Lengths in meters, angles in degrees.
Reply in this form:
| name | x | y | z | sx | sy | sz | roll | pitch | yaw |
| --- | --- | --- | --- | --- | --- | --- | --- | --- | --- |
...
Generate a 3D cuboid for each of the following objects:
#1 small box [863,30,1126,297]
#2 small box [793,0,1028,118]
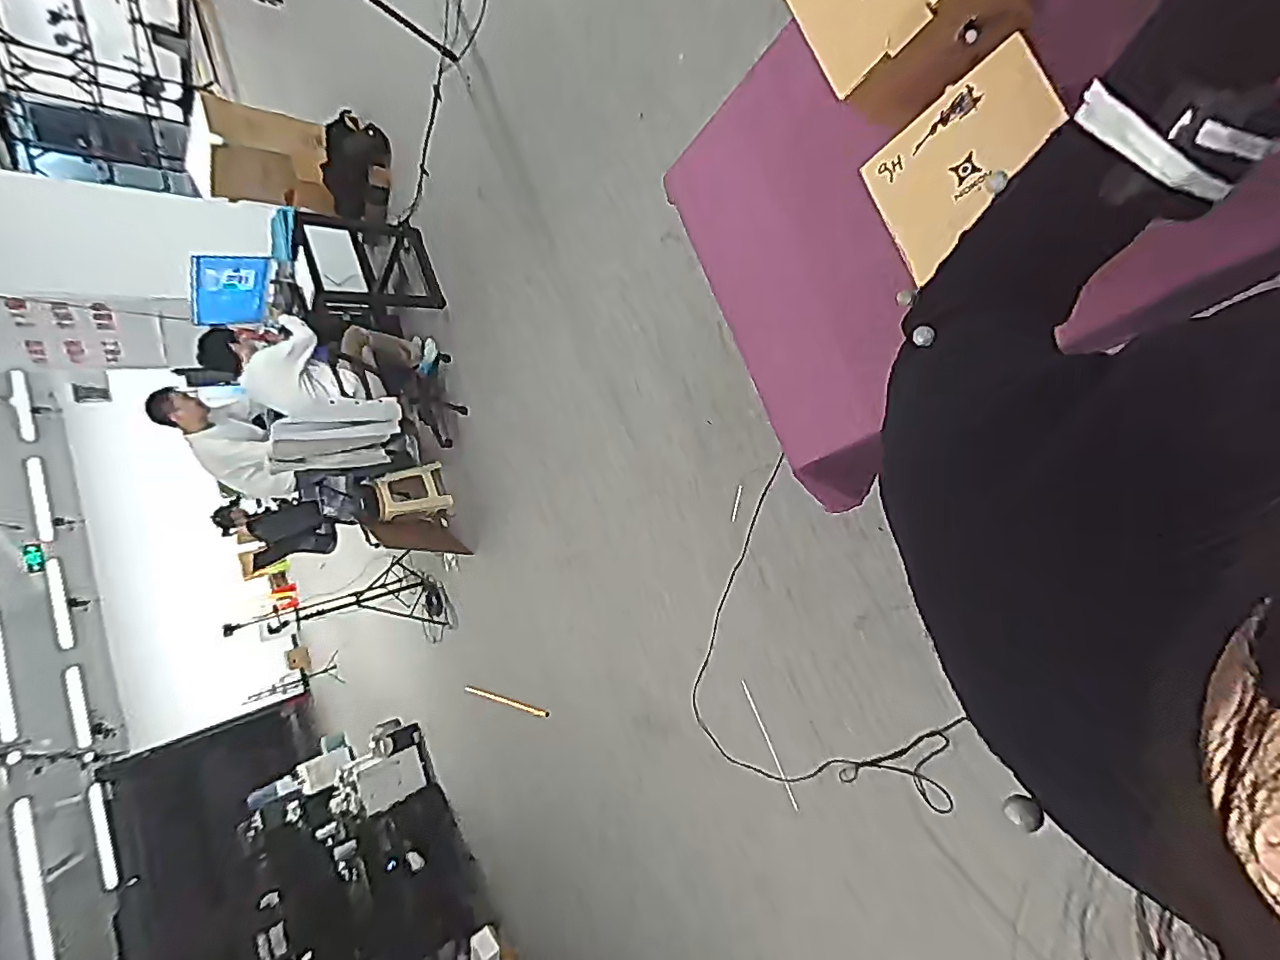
| name | x | y | z | sx | sy | sz | roll | pitch | yaw |
| --- | --- | --- | --- | --- | --- | --- | --- | --- | --- |
| small box | 0.385 | -0.319 | 0.588 | 0.168 | 0.176 | 0.179 | -31 | 77 | 47 |
| small box | 0.303 | -0.556 | 0.618 | 0.168 | 0.176 | 0.179 | -31 | 77 | 46 |
